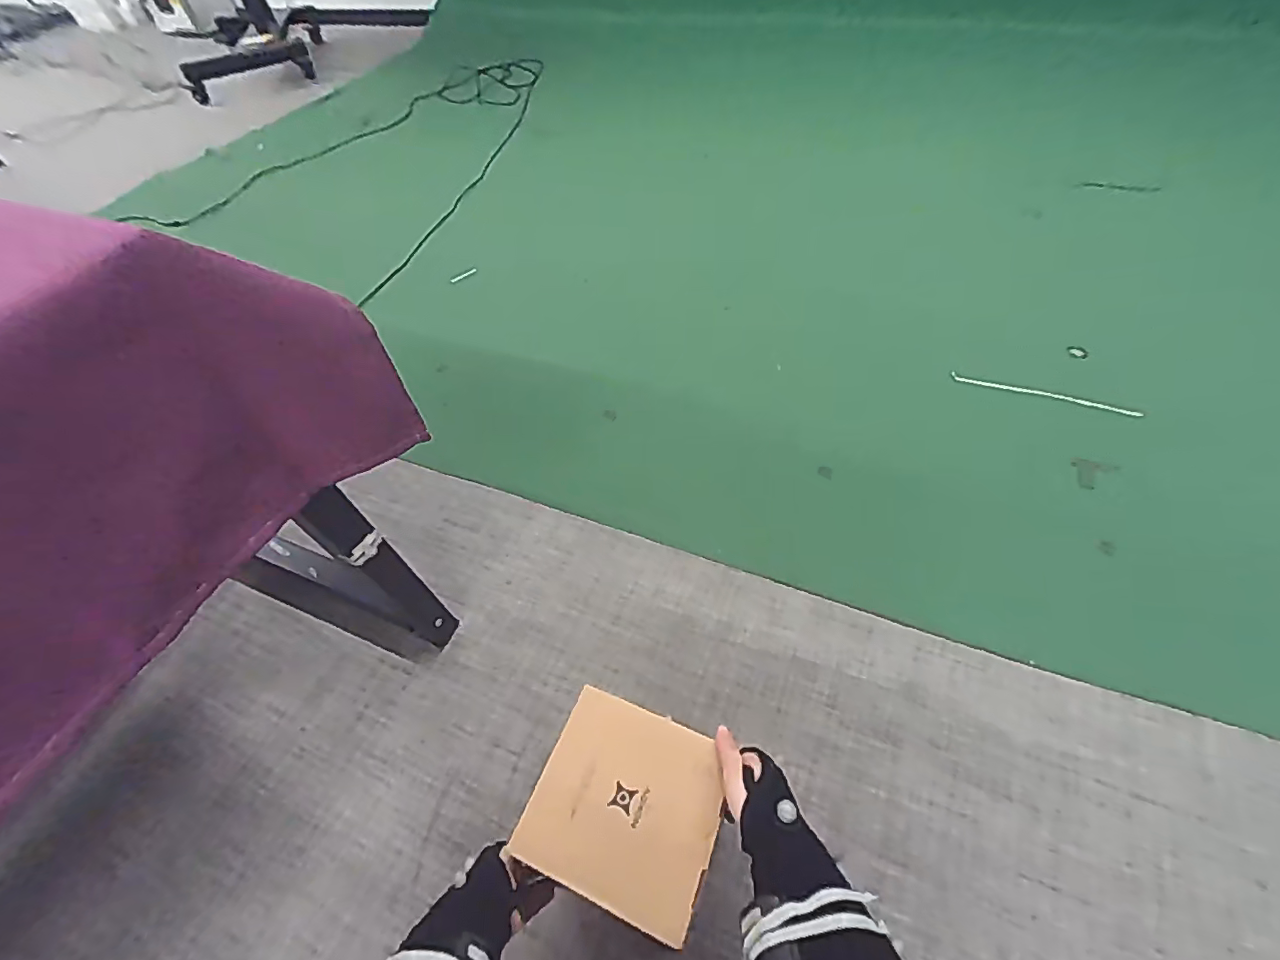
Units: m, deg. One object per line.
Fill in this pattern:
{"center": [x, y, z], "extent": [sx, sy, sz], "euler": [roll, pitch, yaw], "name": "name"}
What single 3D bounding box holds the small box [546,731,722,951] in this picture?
{"center": [0.004, 0.462, 0.704], "extent": [0.168, 0.176, 0.179], "euler": [15, 56, 16], "name": "small box"}
